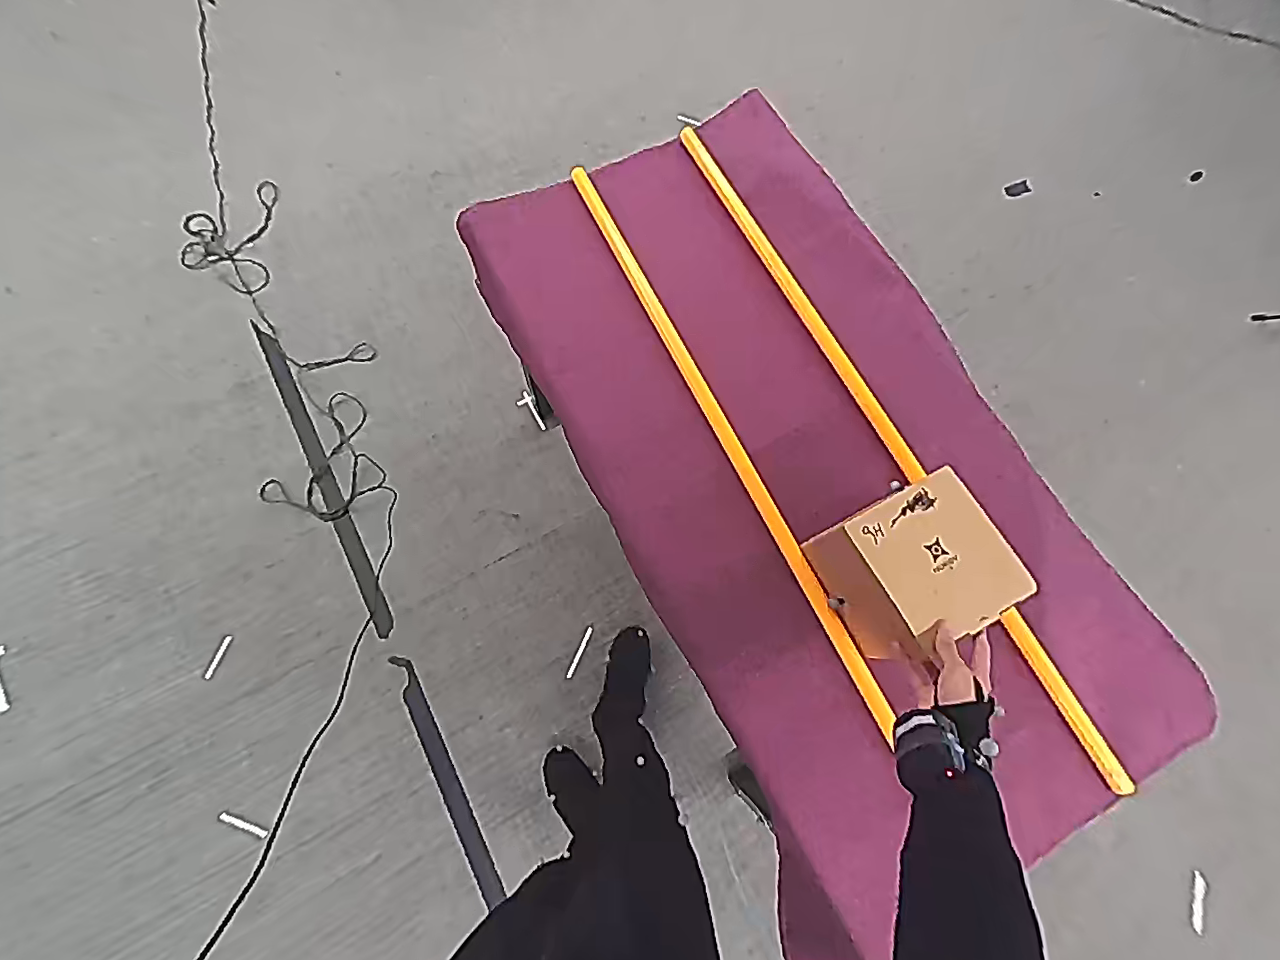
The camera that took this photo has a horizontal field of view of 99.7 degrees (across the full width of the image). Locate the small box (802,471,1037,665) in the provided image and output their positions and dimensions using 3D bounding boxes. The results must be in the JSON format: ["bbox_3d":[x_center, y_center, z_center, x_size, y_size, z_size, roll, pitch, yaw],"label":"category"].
[{"bbox_3d":[0.344,0.117,0.702,0.168,0.176,0.179,-26,77,-11],"label":"small box"}]
